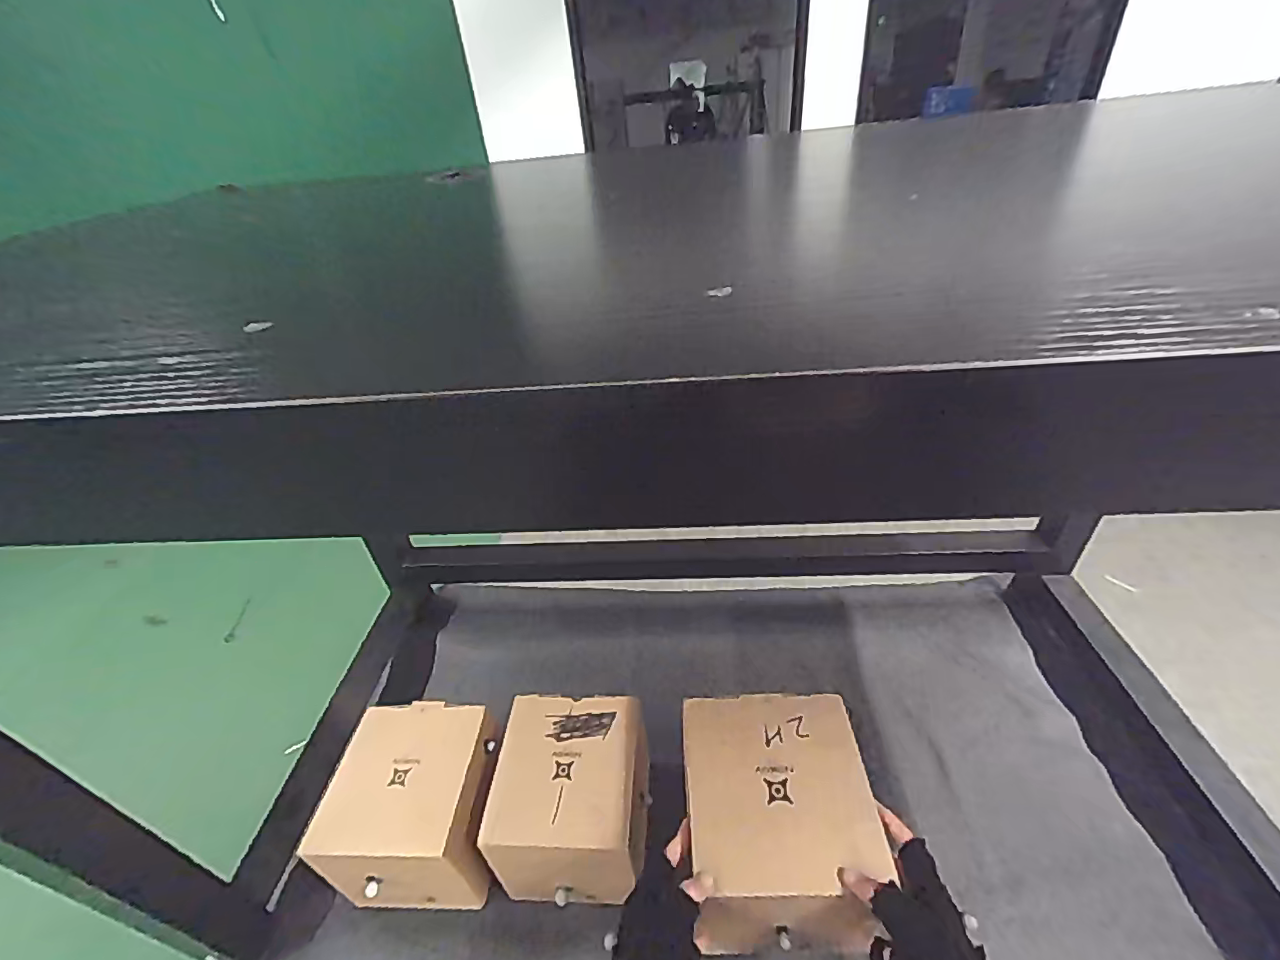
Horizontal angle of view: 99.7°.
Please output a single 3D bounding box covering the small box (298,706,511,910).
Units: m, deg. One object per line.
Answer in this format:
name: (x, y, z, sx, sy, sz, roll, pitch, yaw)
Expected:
small box: (-0.274, 0.412, 0.683, 0.168, 0.176, 0.179, -2, 35, 5)
